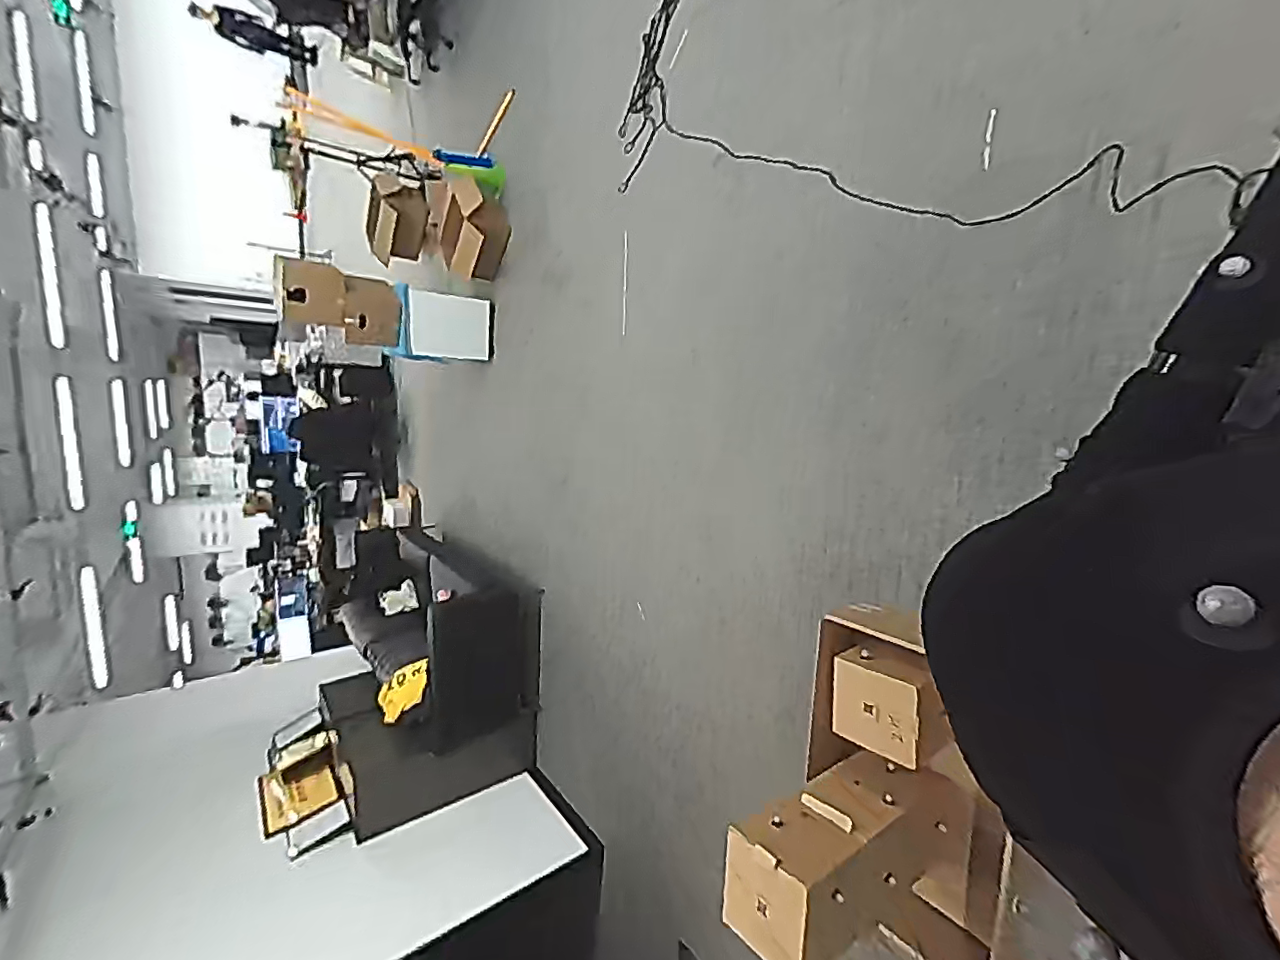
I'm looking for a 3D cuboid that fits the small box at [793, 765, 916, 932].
[{"bbox_3d":[0.403,0.680,1.027,0.168,0.176,0.179,3,94,52],"label":"small box"}]

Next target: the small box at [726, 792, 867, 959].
[{"bbox_3d":[0.271,0.681,0.932,0.168,0.176,0.179,8,97,52],"label":"small box"}]
